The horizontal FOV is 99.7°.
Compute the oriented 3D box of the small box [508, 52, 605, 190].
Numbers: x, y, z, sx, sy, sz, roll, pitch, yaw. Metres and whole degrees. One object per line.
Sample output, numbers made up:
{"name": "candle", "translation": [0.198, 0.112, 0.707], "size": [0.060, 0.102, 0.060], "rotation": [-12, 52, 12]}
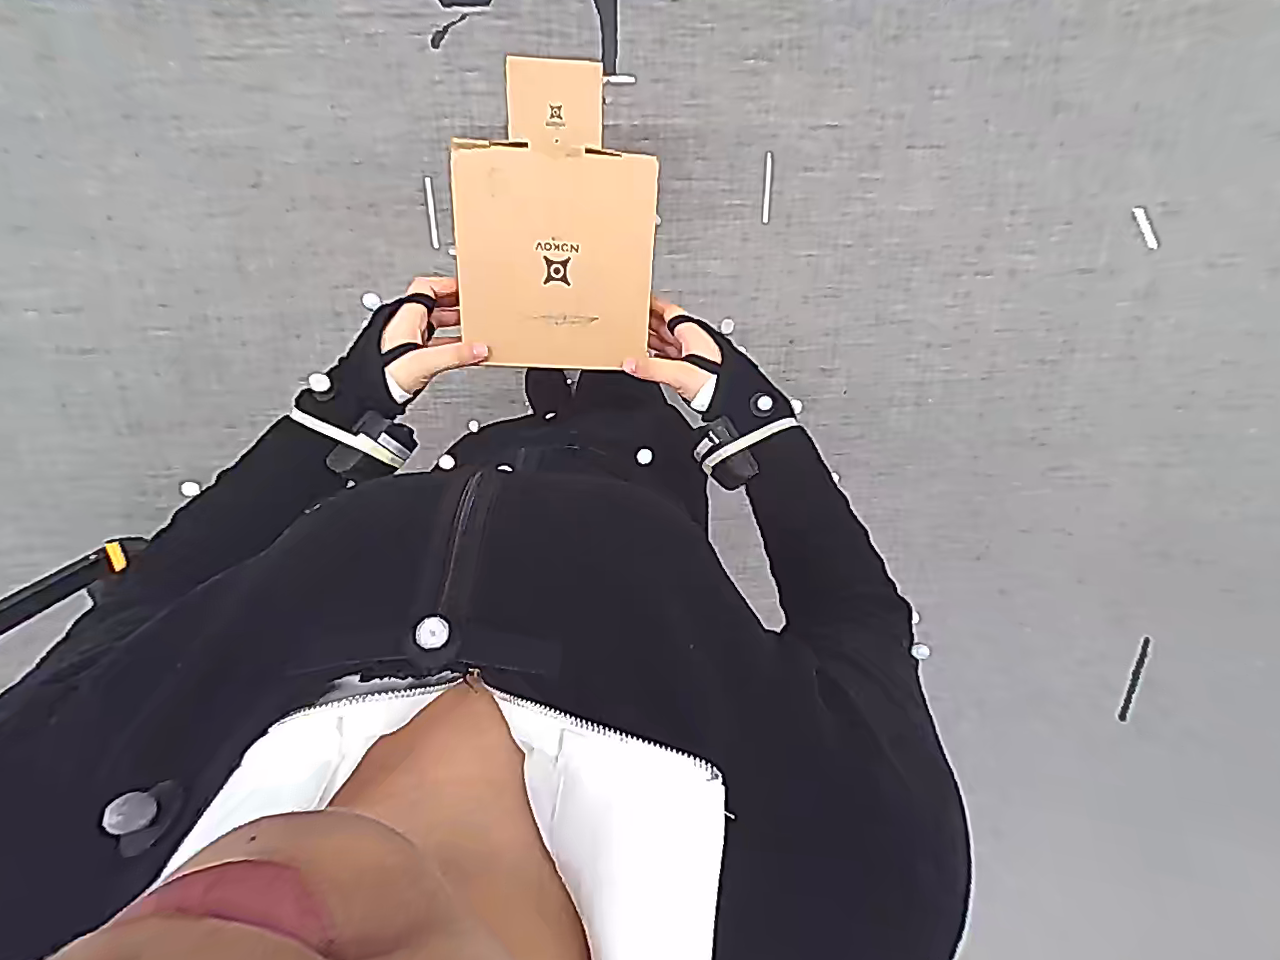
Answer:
{"name": "small box", "translation": [-0.153, -0.662, 1.016], "size": [0.168, 0.176, 0.179], "rotation": [1, 110, -5]}
